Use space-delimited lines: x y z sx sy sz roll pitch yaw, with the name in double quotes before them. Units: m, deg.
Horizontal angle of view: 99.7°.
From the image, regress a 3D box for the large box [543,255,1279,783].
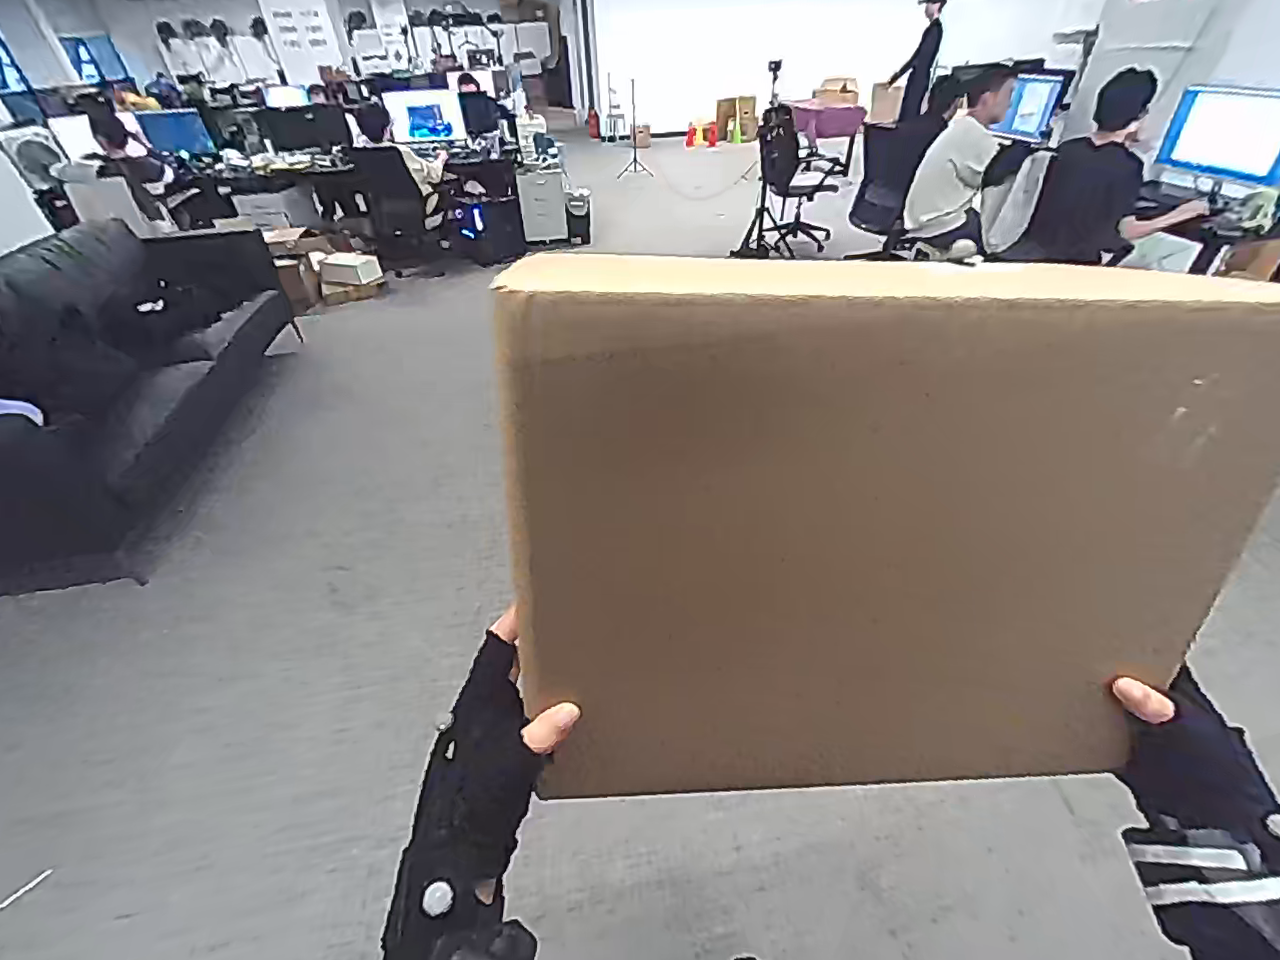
"large box" 0.131 -0.003 0.440 0.408 0.320 0.320 1 25 -6
